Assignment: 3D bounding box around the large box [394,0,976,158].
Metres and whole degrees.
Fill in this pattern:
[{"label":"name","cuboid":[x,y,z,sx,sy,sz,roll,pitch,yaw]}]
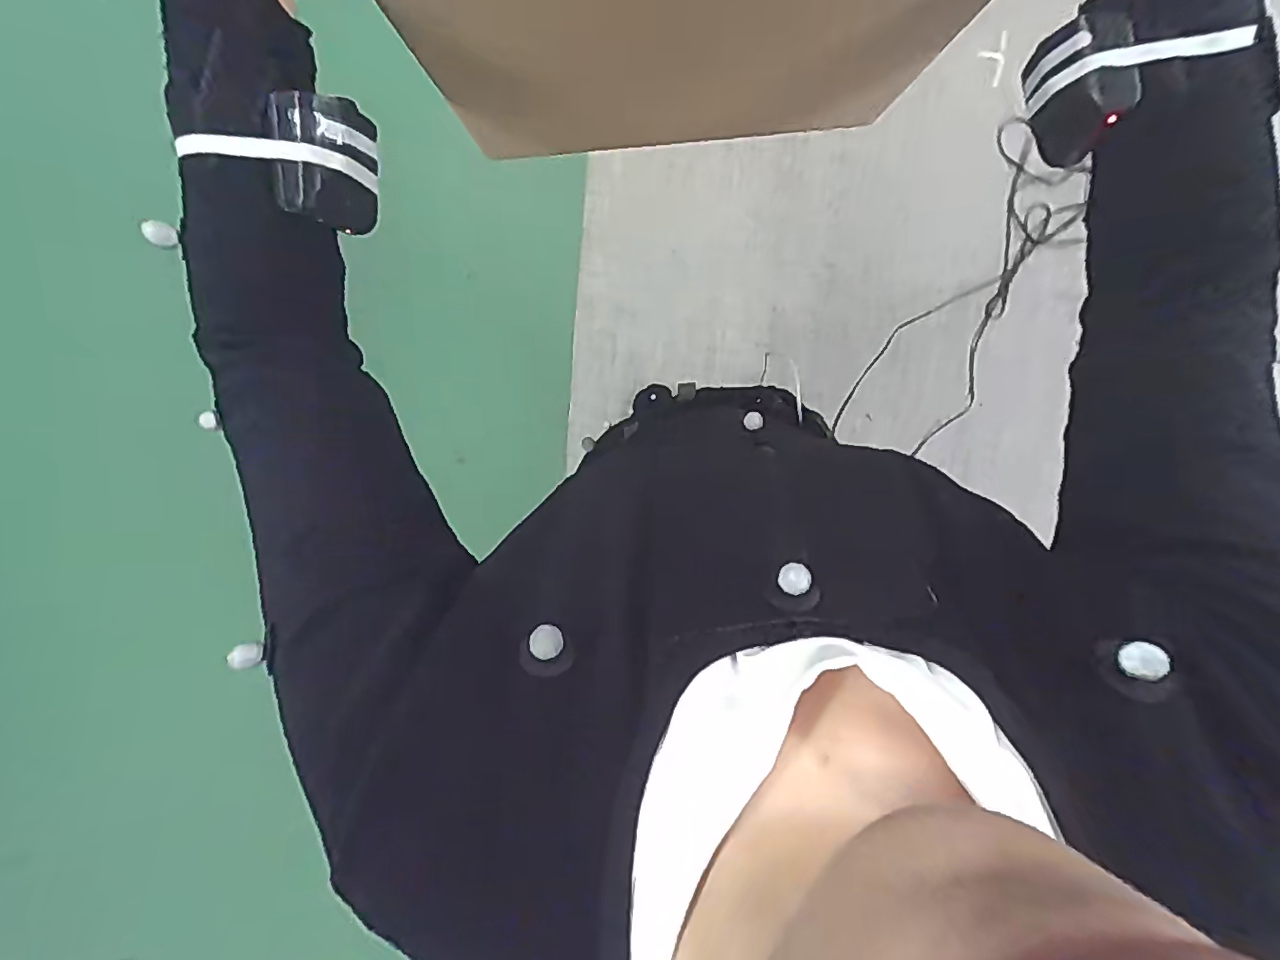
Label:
[{"label":"large box","cuboid":[0.028,-0.471,0.388,0.408,0.320,0.320,-5,102,0]}]
